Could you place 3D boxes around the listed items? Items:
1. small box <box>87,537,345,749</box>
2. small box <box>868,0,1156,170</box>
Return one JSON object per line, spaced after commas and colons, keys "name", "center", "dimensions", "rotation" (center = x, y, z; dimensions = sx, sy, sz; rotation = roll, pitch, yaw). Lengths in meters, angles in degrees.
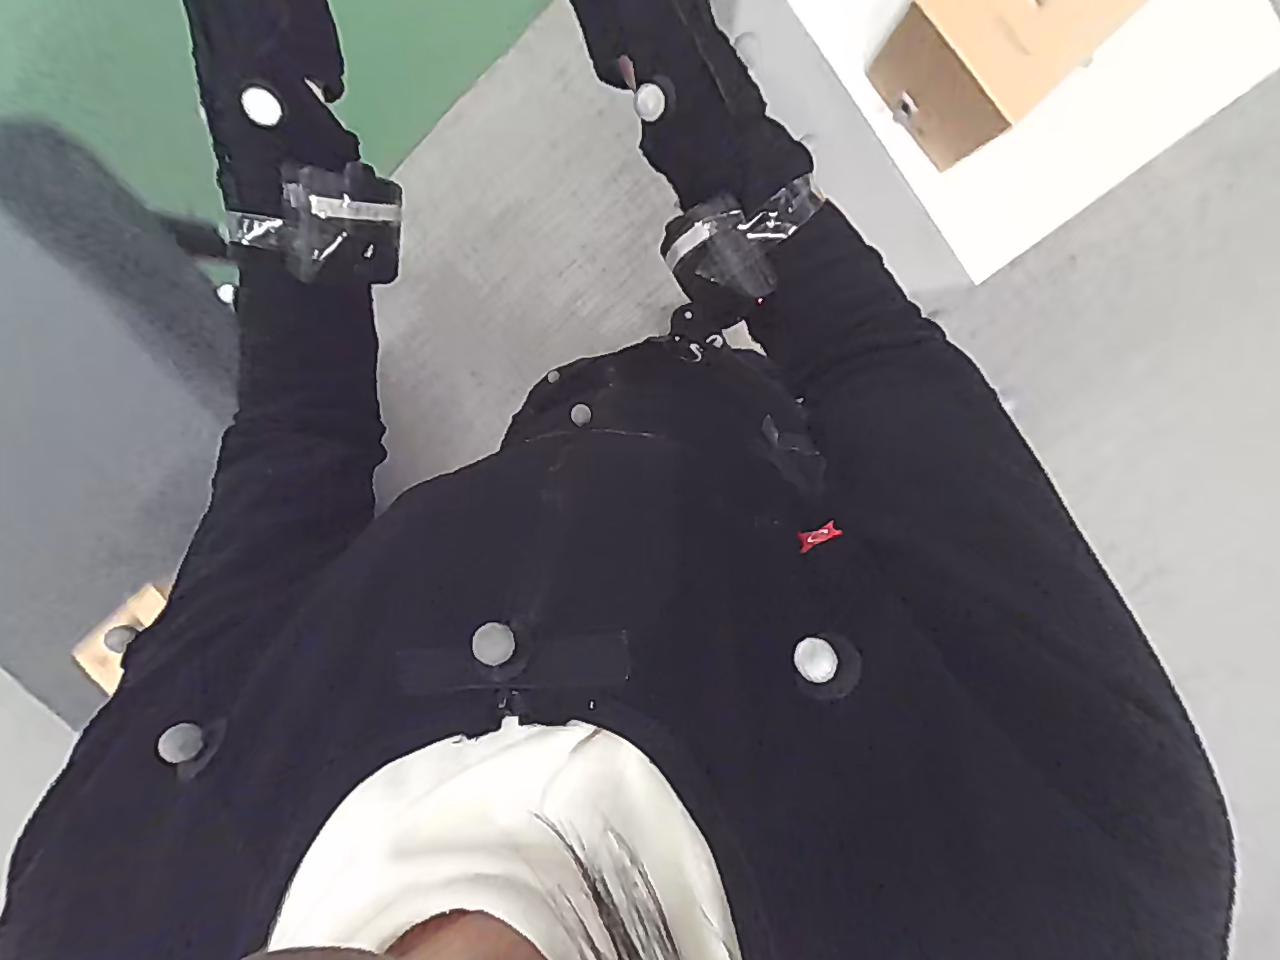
{"name": "small box", "center": [-0.544, 0.206, 0.721], "dimensions": [0.168, 0.176, 0.179], "rotation": [-36, 99, 15]}
{"name": "small box", "center": [0.376, -0.474, 0.569], "dimensions": [0.179, 0.176, 0.168], "rotation": [-43, 96, 16]}
